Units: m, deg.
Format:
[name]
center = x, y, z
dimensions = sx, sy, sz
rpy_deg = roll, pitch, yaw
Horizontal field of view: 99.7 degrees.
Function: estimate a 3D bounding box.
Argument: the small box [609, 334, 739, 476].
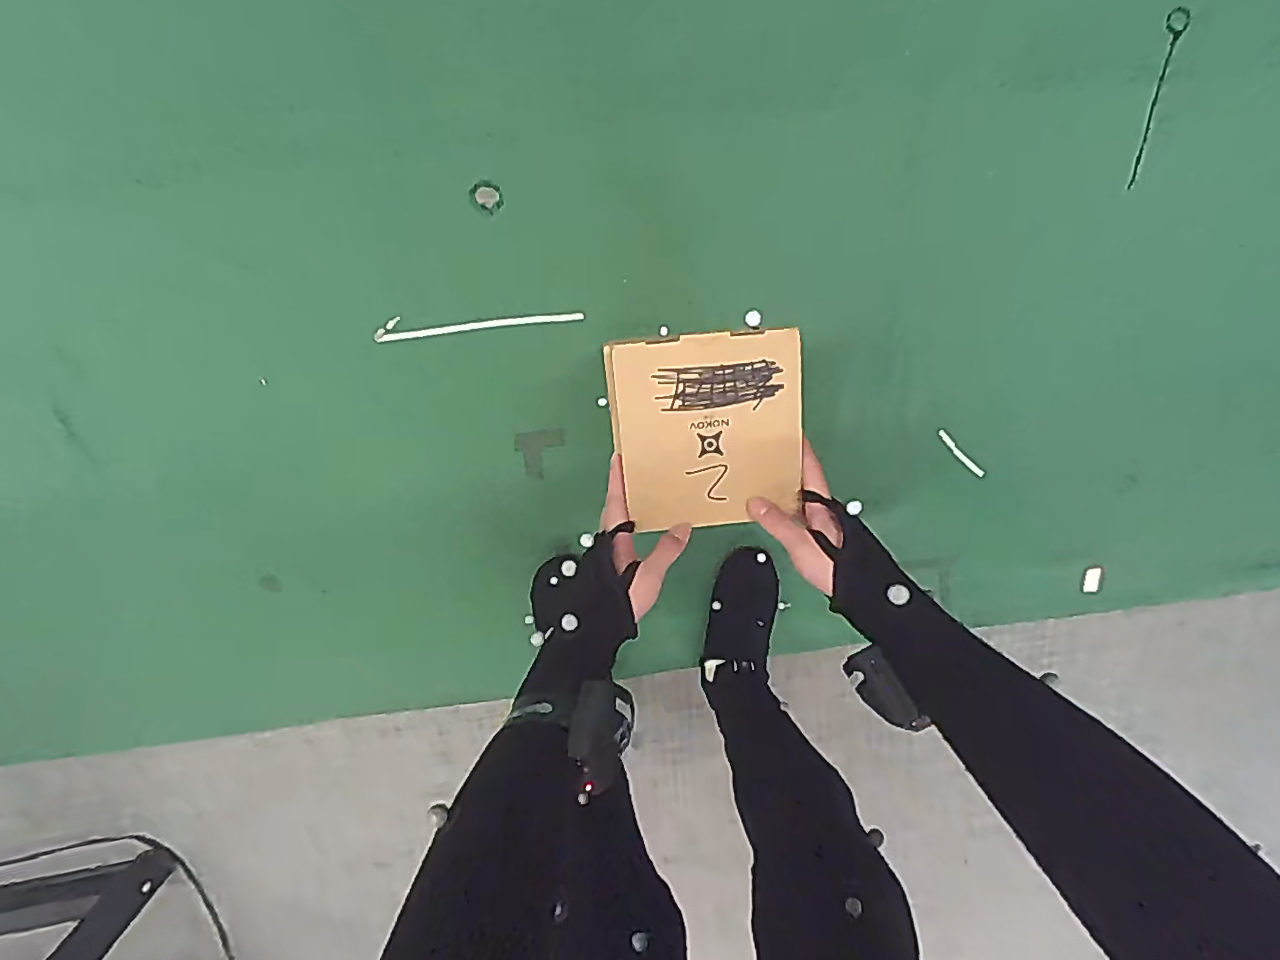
[small box]
center = 0.043, -0.115, 0.789
dimensions = 0.168, 0.176, 0.179
rpy_deg = -6, 105, -1
